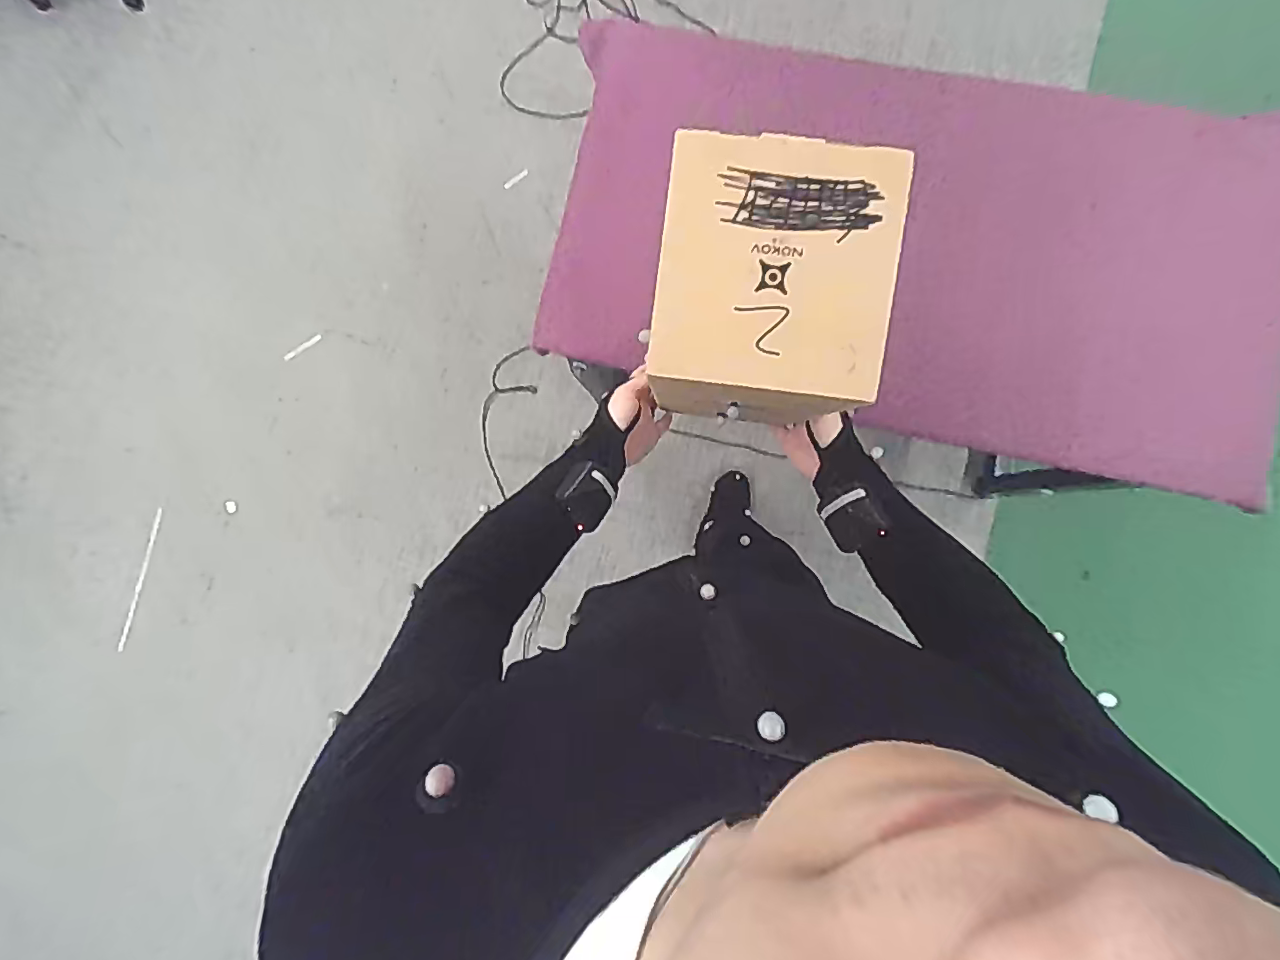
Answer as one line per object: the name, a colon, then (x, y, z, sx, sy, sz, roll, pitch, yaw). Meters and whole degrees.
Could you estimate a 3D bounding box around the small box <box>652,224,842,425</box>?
small box: (0.110, -0.160, 0.614, 0.168, 0.176, 0.179, 8, 93, 3)
